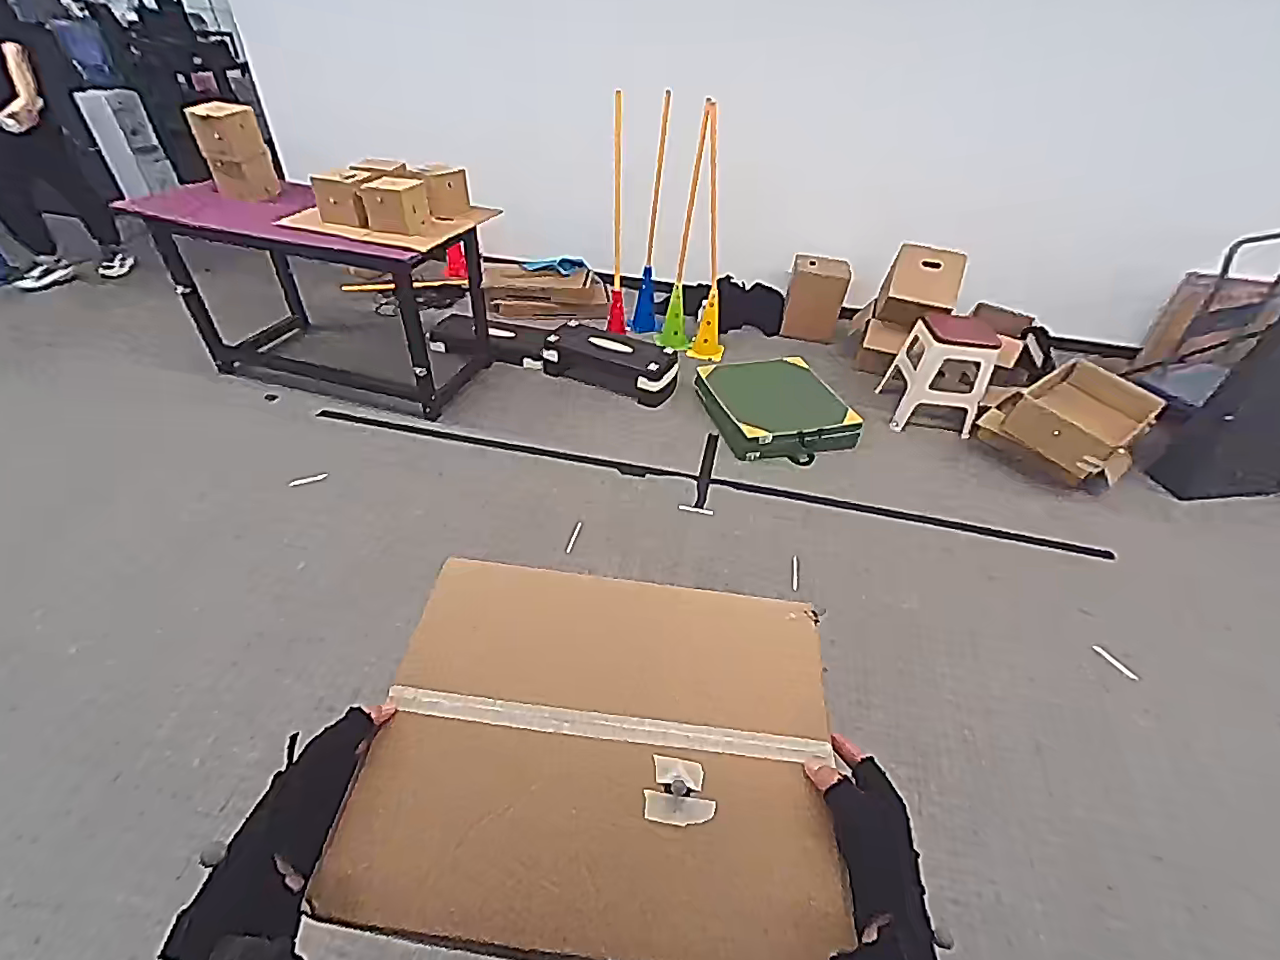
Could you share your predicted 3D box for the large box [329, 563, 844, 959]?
[{"bbox_3d":[-0.039,0.328,0.615,0.408,0.320,0.320,8,48,1],"label":"large box"}]
